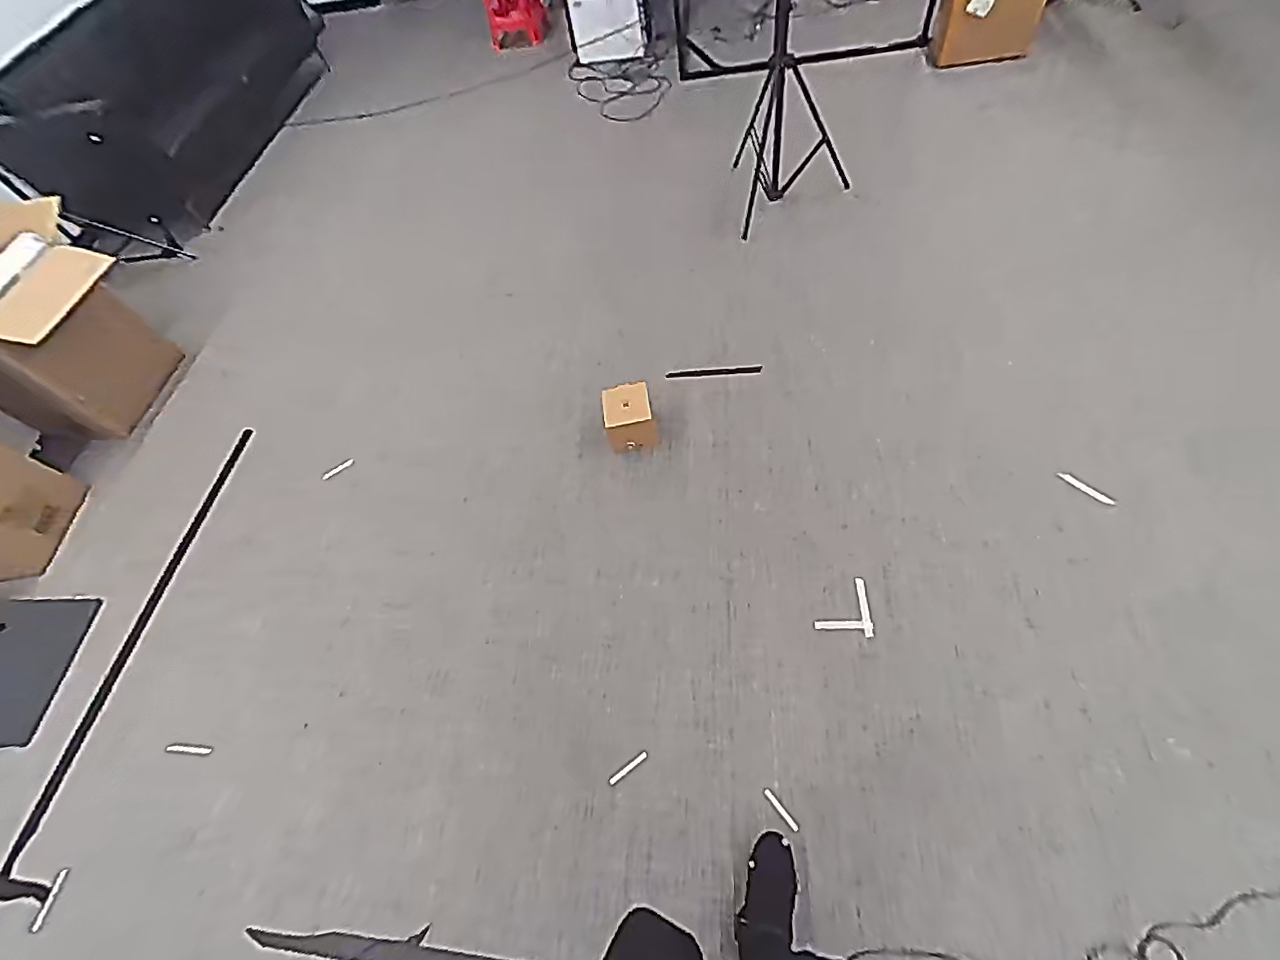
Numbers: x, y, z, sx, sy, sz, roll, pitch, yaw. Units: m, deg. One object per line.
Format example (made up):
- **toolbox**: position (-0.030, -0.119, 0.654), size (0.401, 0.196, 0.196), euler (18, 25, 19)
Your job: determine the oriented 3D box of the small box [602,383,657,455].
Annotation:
- **small box**: position (-0.036, -0.217, 1.947), size (0.168, 0.176, 0.179), euler (-11, 57, 5)
